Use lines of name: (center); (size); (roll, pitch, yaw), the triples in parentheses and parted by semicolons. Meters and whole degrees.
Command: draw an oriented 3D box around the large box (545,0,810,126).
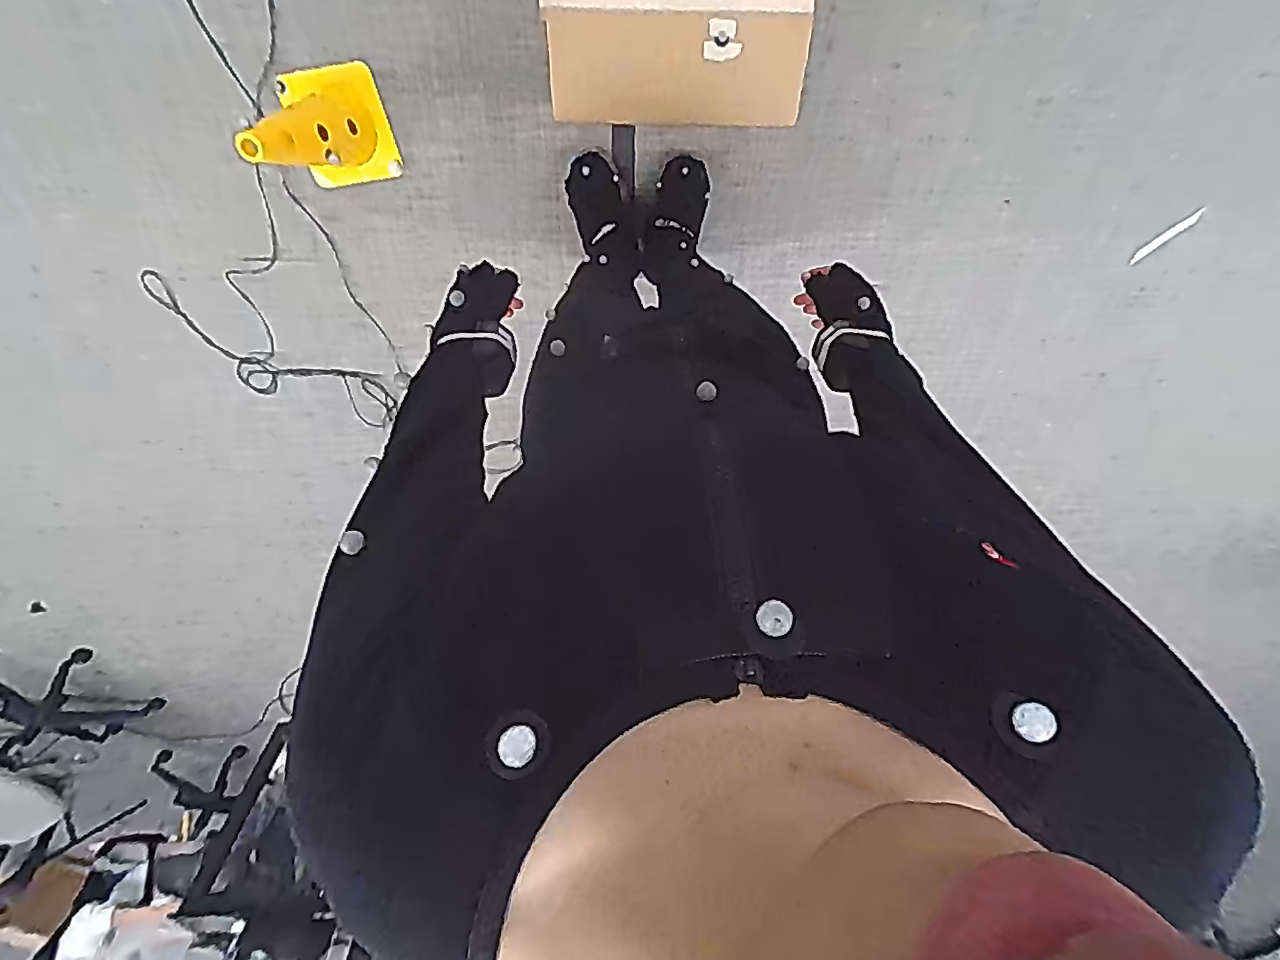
large box: (0.049, -0.800, 0.923); (0.408, 0.320, 0.320); (-1, 127, -3)
